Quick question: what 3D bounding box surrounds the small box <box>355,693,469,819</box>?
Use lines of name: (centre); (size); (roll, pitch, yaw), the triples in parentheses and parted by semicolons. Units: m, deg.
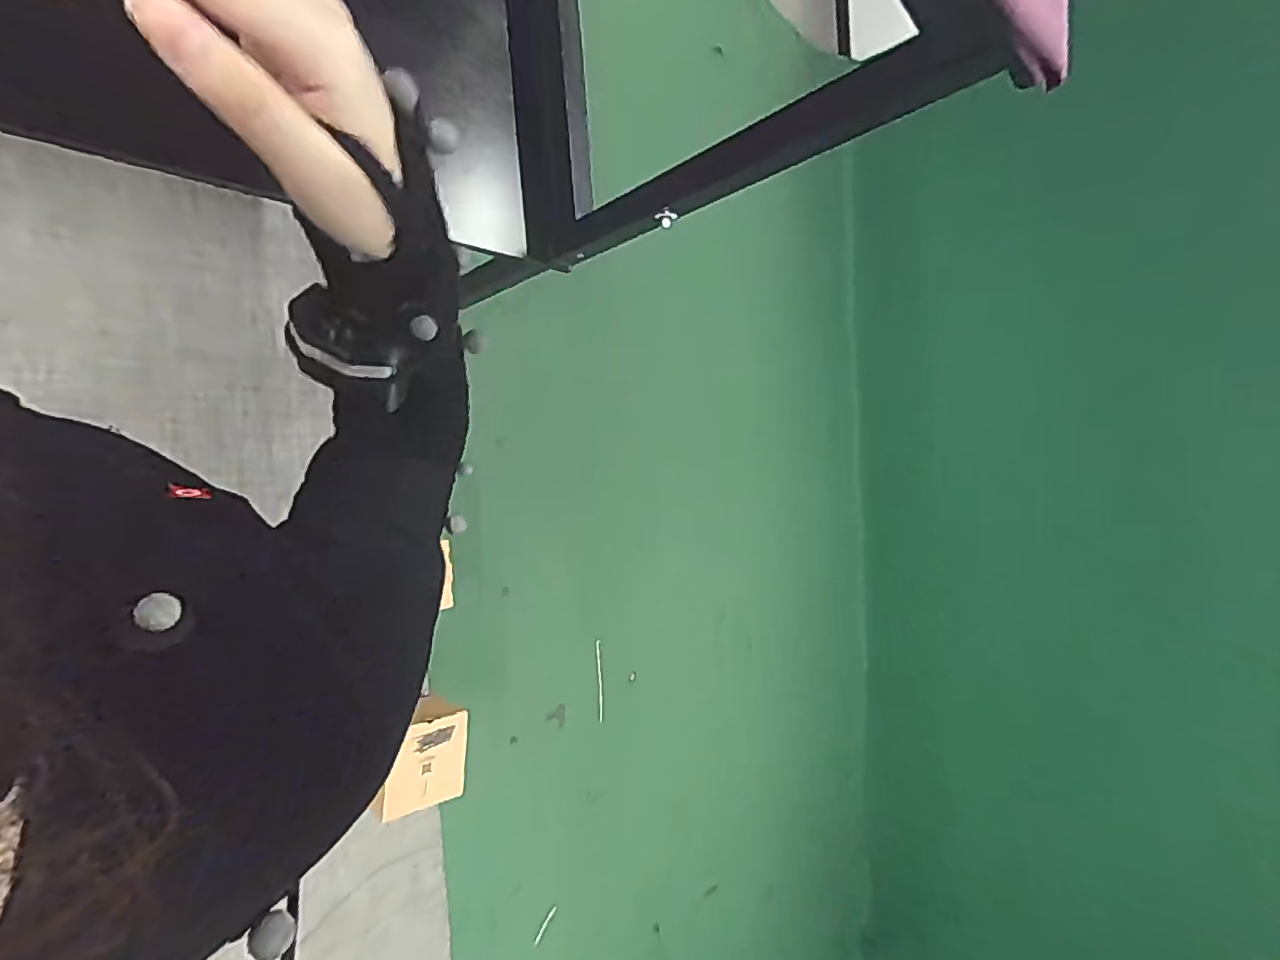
small box: (-0.478, 0.560, 1.132); (0.168, 0.176, 0.179); (6, 85, -45)
